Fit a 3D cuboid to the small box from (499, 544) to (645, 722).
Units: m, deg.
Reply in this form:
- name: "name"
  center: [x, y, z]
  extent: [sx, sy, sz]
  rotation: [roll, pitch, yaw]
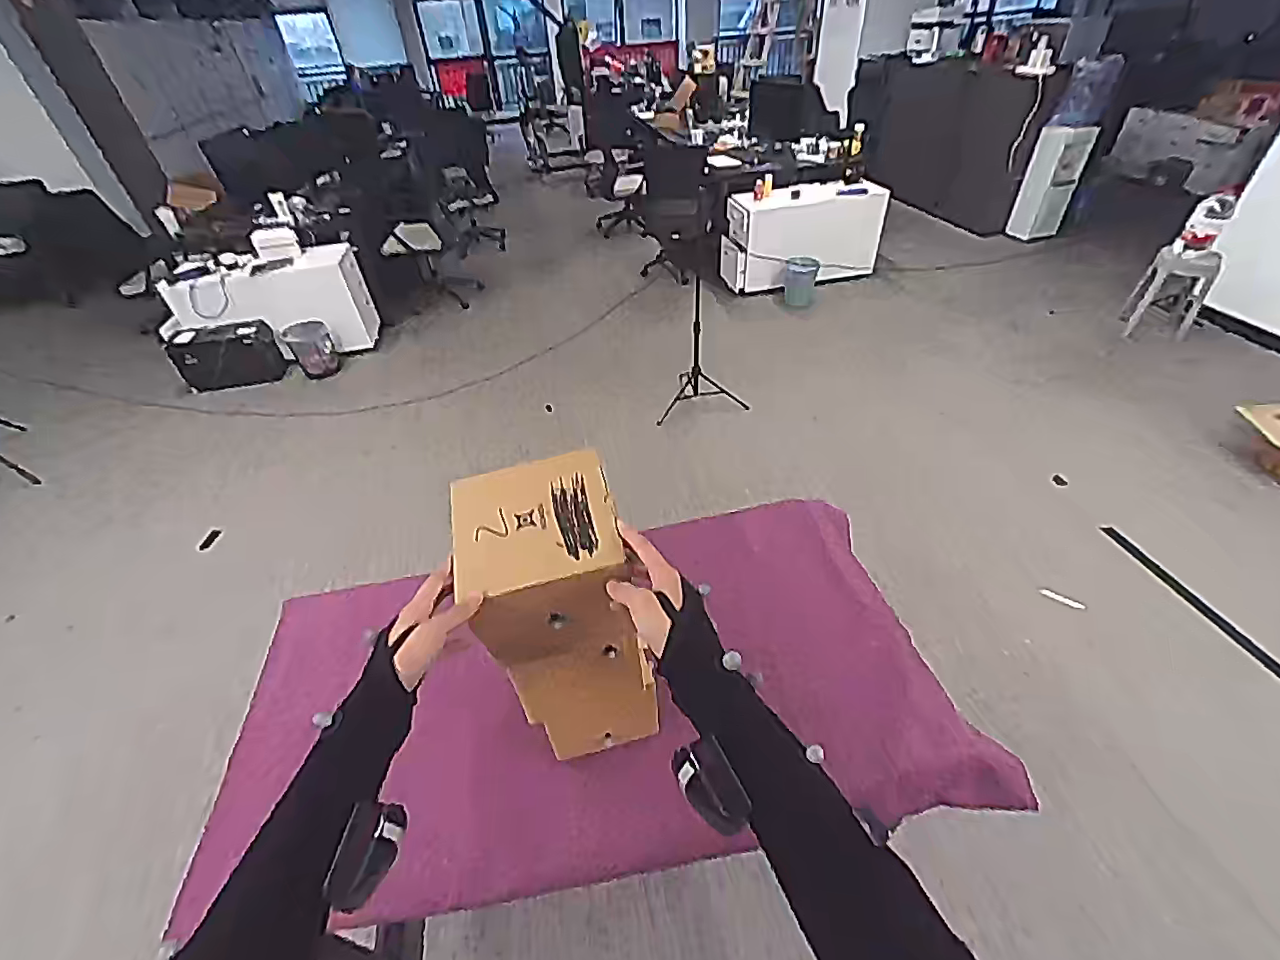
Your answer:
- name: "small box"
  center: [-0.098, 0.224, 0.791]
  extent: [0.179, 0.176, 0.168]
  rotation: [-12, 40, -9]

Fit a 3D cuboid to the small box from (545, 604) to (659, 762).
- name: "small box"
  center: [-0.072, 0.339, 0.906]
  extent: [0.179, 0.176, 0.168]
  rotation: [-11, 40, -9]
